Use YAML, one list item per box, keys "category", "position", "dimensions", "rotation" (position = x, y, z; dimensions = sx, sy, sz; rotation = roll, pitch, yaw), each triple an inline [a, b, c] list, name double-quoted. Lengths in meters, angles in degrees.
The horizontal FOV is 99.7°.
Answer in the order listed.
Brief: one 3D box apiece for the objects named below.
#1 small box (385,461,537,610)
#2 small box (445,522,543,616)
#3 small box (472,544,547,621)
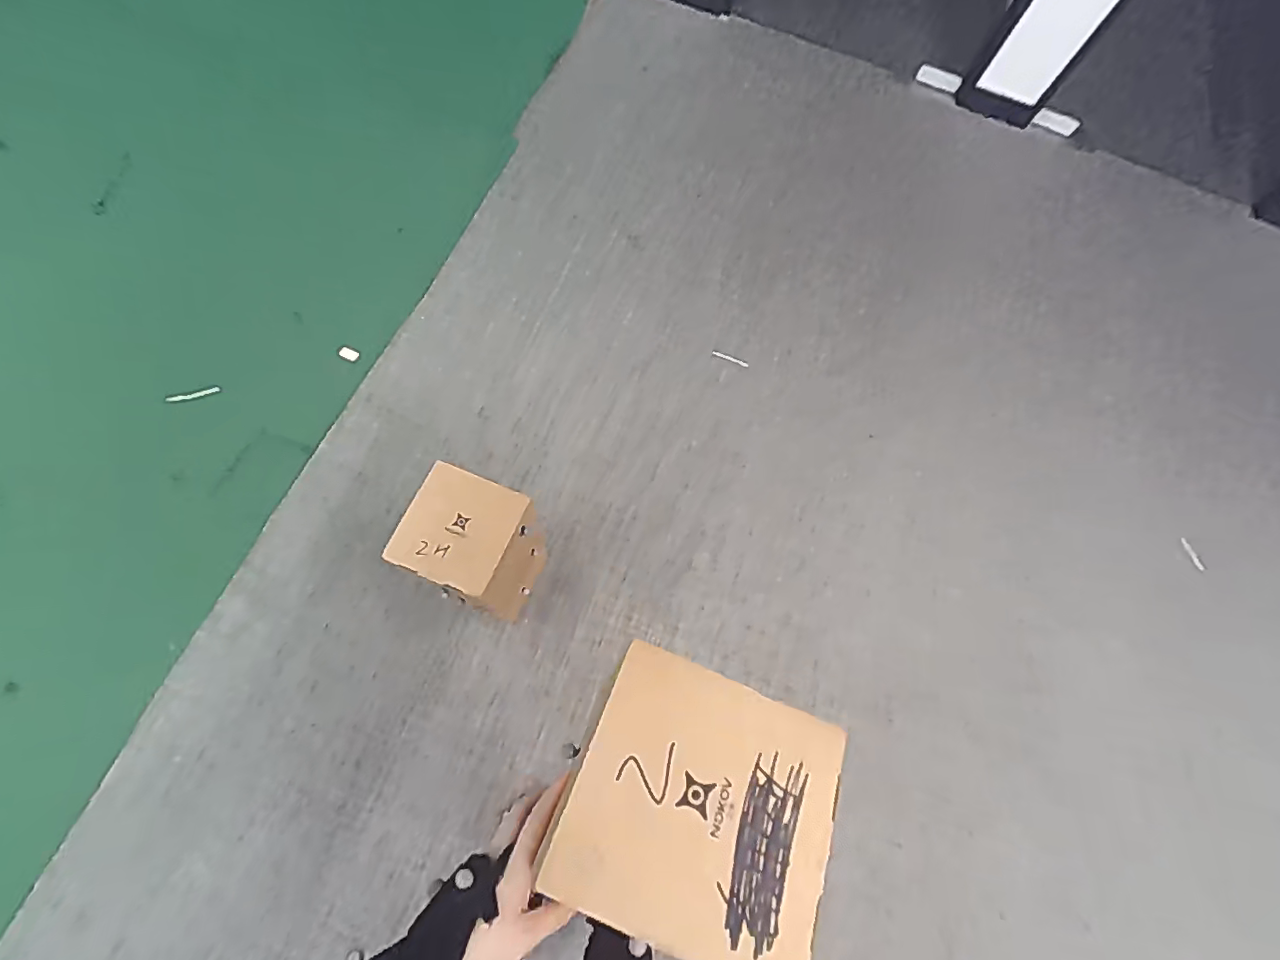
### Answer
- category: "small box"
  position: [-0.281, 0.099, 0.900]
  dimensions: [0.168, 0.176, 0.179]
  rotation: [22, 70, 3]
- category: "small box"
  position: [-0.299, 0.151, 1.056]
  dimensions: [0.168, 0.176, 0.179]
  rotation: [22, 71, 3]
- category: "small box"
  position: [-0.317, 0.202, 1.209]
  dimensions: [0.168, 0.176, 0.179]
  rotation: [25, 71, 3]
